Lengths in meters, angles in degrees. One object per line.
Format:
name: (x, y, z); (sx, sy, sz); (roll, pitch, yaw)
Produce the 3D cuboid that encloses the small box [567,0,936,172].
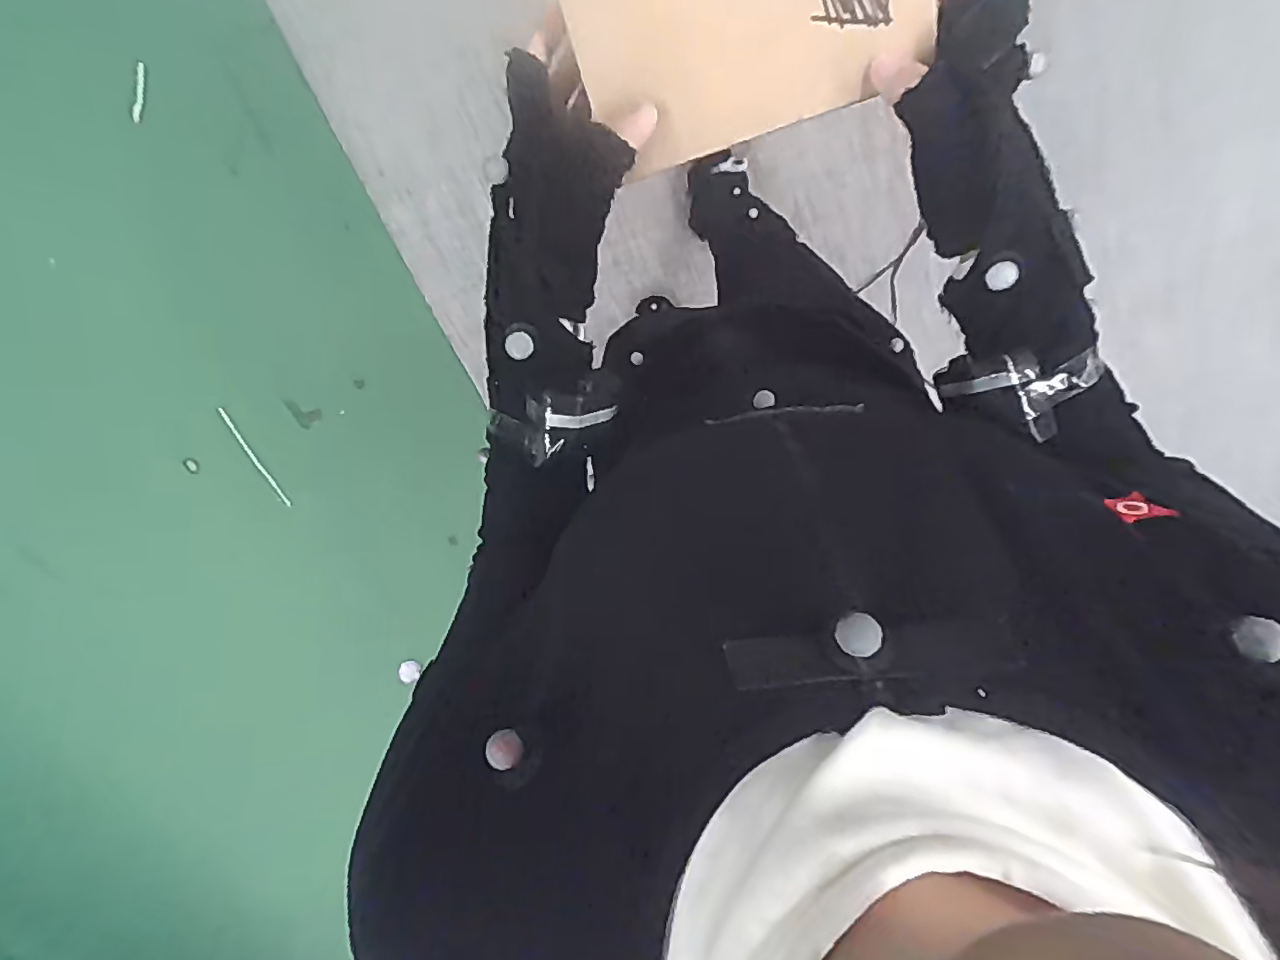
small box: (0.048, -0.305, 0.313); (0.179, 0.176, 0.168); (-13, 124, 12)
